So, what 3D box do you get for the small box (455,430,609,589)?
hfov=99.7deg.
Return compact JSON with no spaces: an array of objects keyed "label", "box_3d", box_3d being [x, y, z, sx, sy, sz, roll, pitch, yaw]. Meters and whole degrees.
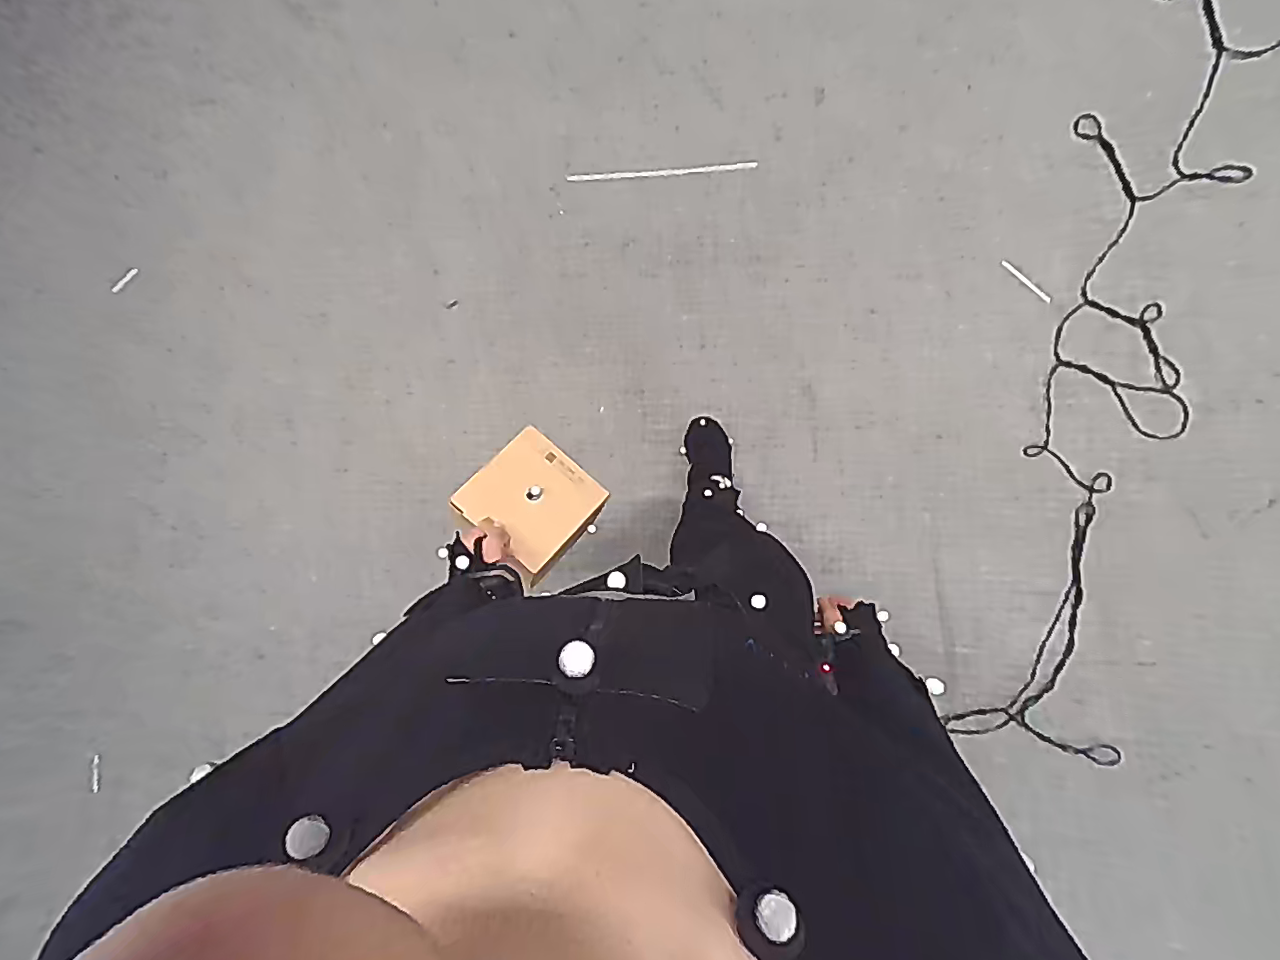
[{"label":"small box","box_3d":[-0.170,0.048,0.867,0.168,0.179,0.176,40,67,2]}]
